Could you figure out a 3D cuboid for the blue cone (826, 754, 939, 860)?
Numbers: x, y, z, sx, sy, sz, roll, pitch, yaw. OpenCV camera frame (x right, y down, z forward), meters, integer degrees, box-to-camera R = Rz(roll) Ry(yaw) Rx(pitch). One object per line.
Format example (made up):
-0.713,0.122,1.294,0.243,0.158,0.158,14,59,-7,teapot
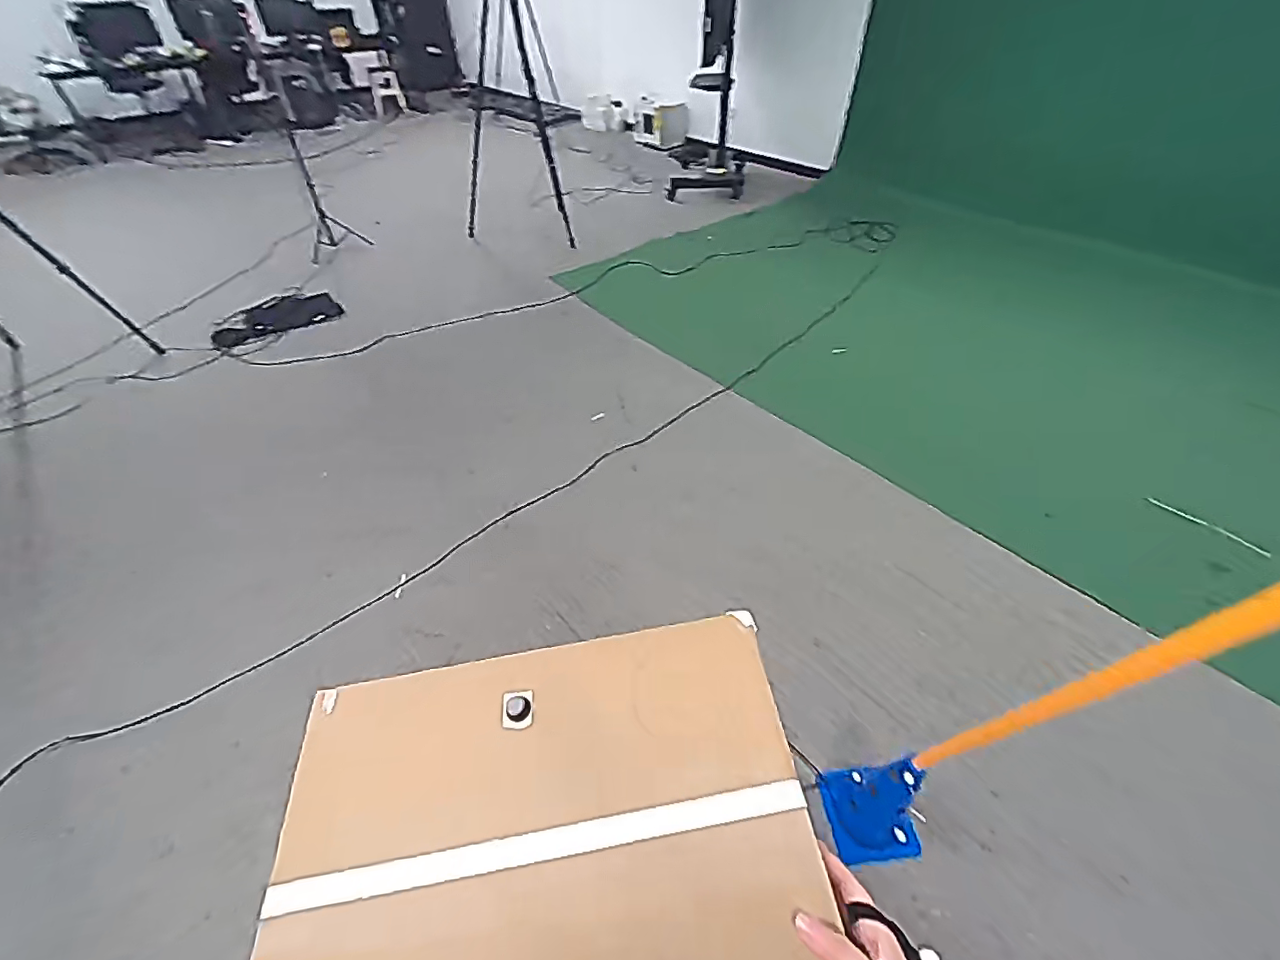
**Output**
0.562,0.676,1.188,0.193,0.380,0.192,-5,45,-6,blue cone
